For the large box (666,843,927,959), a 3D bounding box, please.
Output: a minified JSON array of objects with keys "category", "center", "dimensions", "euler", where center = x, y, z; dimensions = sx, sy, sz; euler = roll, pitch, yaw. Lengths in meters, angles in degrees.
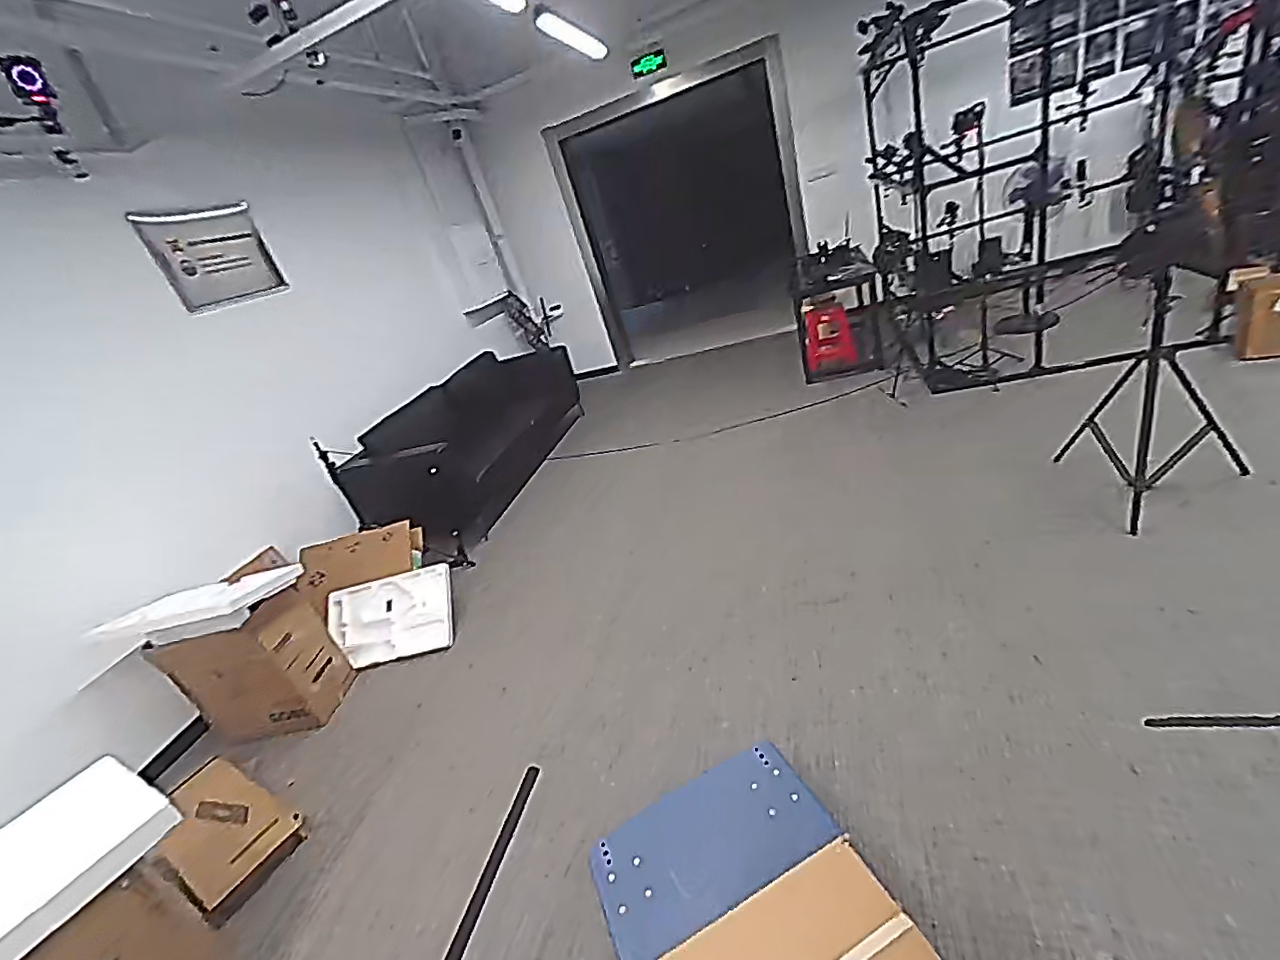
[{"category":"large box","center":[0.282,0.921,0.876],"dimensions":[0.408,0.320,0.320],"euler":[-23,26,-14]}]
